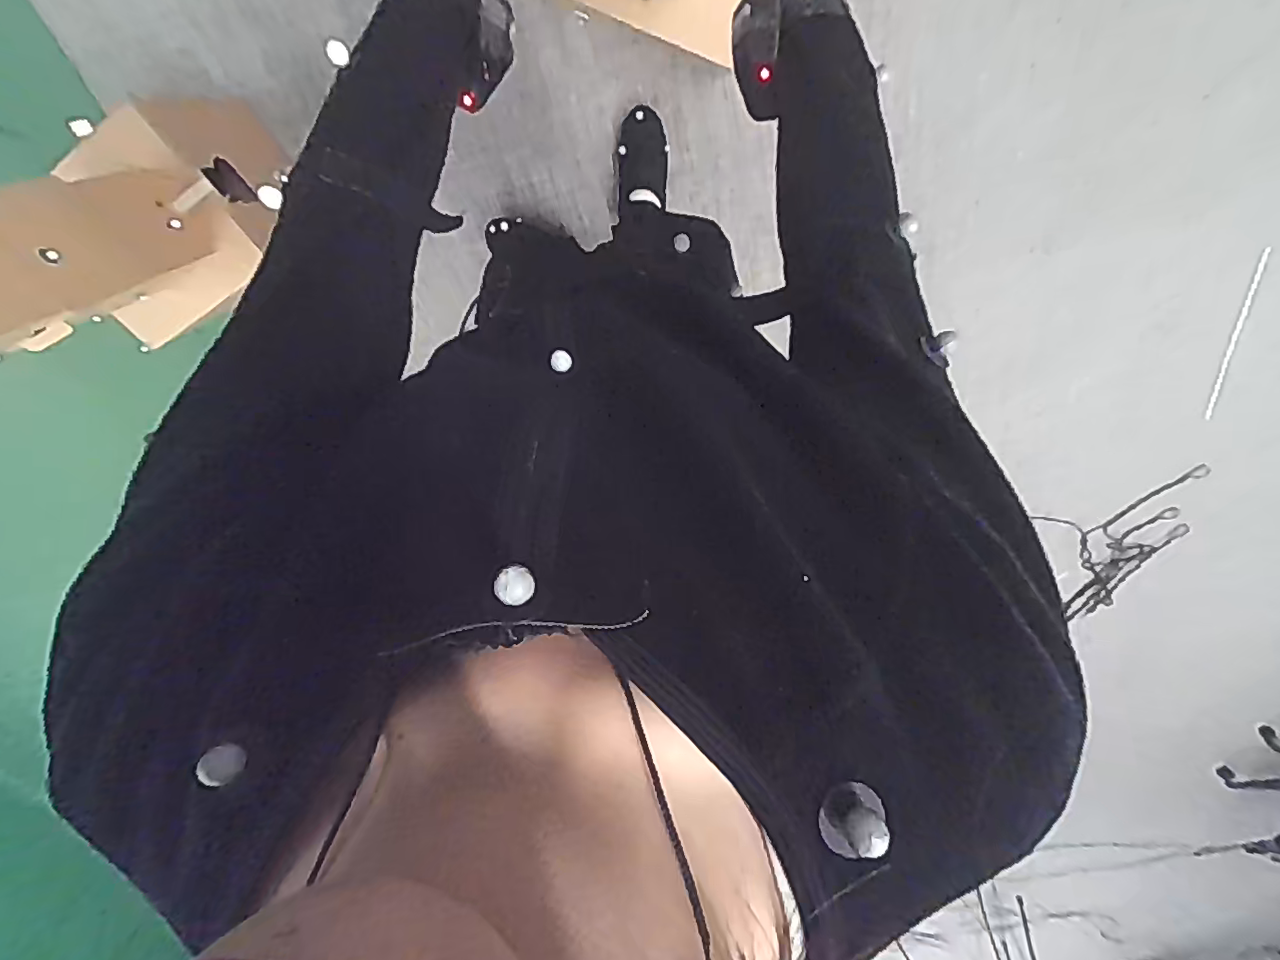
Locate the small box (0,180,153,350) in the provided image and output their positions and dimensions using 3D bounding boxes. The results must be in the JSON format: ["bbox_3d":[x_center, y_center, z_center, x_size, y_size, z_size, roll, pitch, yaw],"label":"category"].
[{"bbox_3d":[-0.939,-0.338,0.844,0.168,0.176,0.179,-19,124,15],"label":"small box"}]

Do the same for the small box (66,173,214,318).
[{"bbox_3d":[-0.941,-0.427,0.981,0.179,0.176,0.168,-20,124,16],"label":"small box"}]

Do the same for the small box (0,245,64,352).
[{"bbox_3d":[-0.949,-0.241,0.711,0.168,0.176,0.179,-20,125,16],"label":"small box"}]

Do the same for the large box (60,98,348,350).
[{"bbox_3d":[-0.955,-0.560,1.189,0.408,0.320,0.320,-22,121,19],"label":"large box"}]
